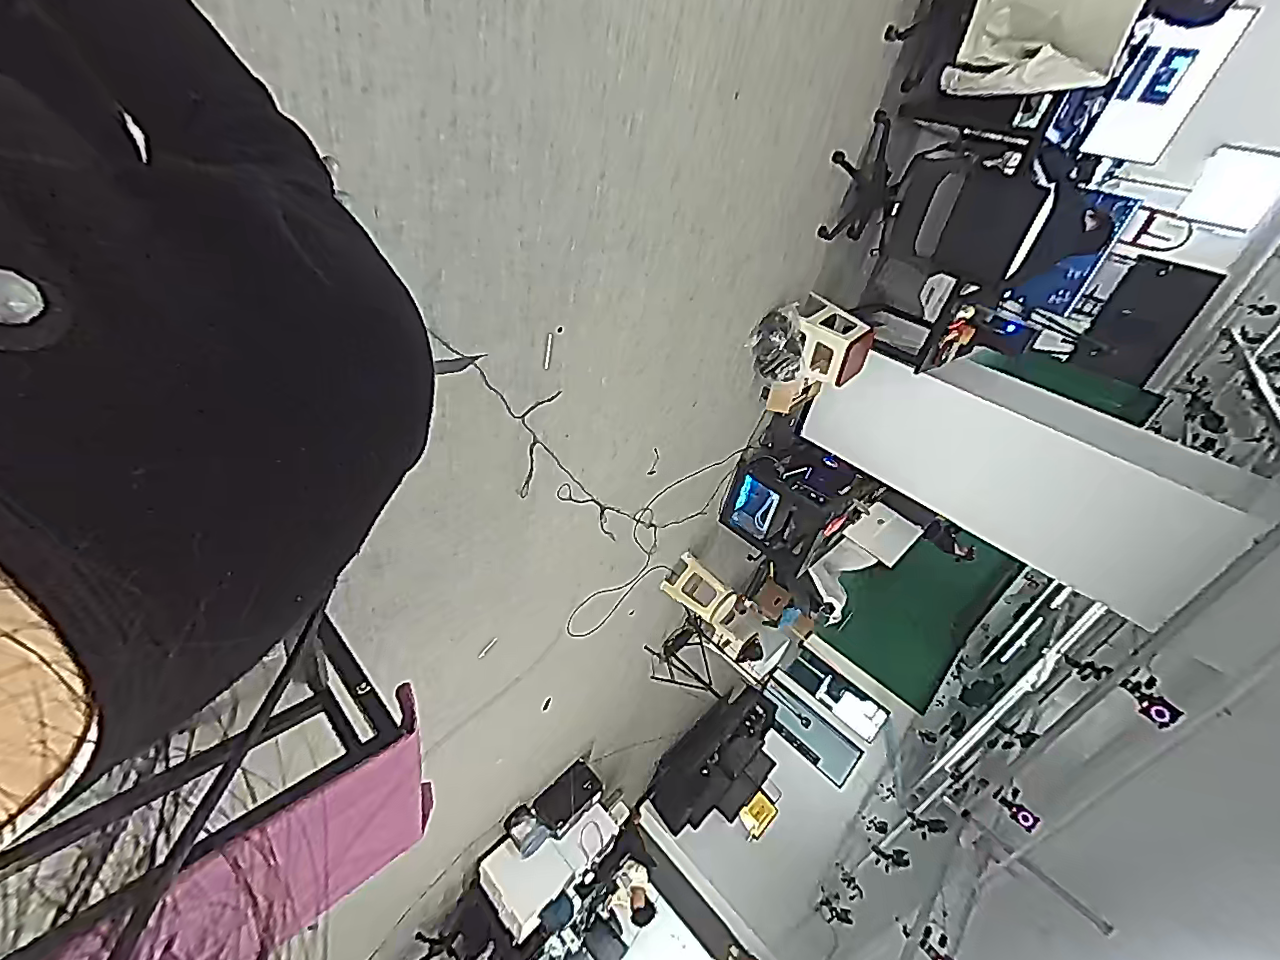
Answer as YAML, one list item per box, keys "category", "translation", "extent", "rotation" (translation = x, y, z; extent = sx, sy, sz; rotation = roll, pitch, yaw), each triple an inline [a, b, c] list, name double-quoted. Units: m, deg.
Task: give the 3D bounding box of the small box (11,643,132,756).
- category: "small box"
  translation: [-1.424, 0.536, 1.357]
  extent: [0.168, 0.176, 0.179]
  rotation: [-21, 137, -44]
